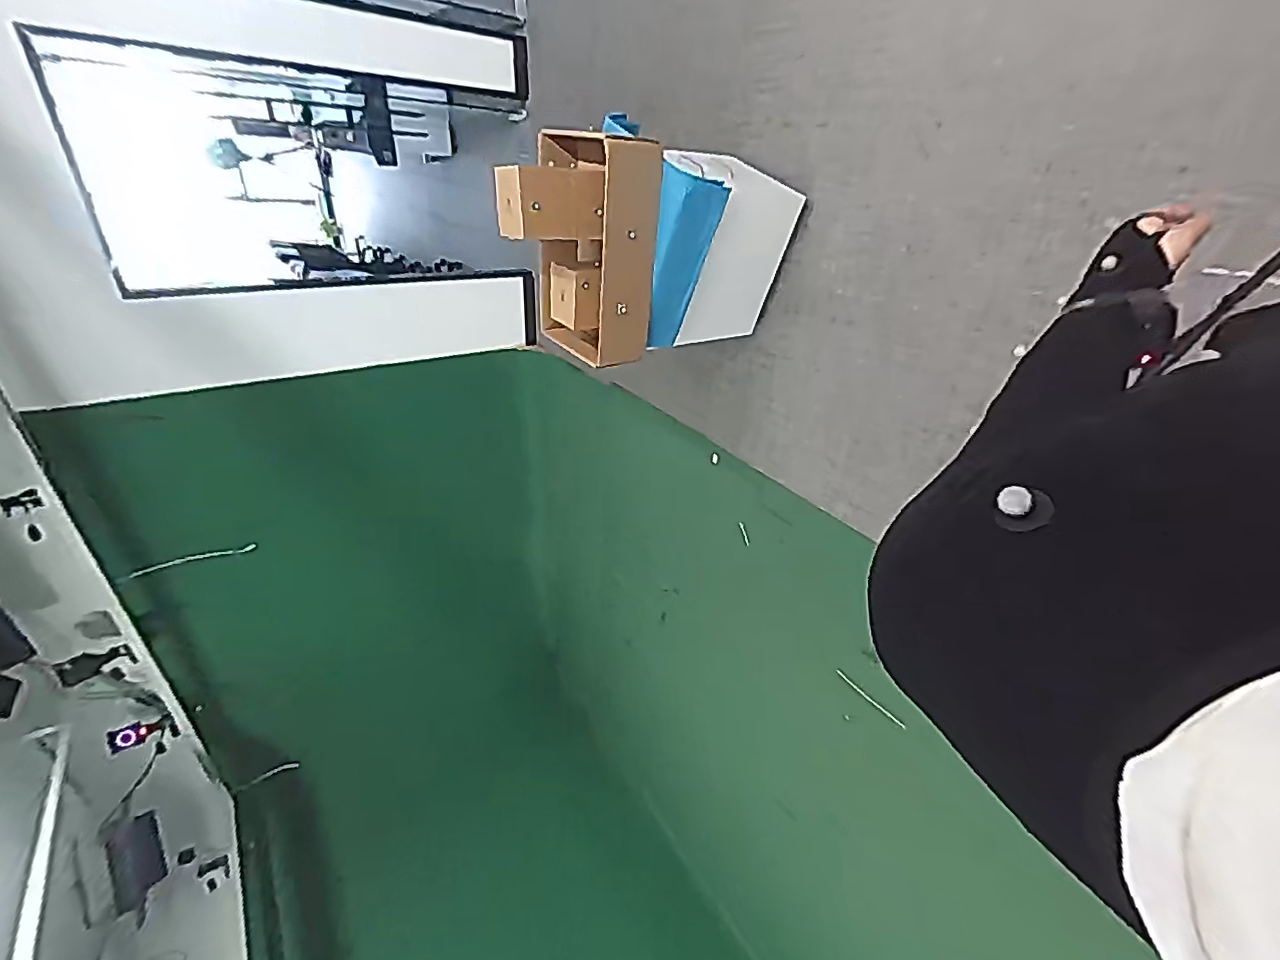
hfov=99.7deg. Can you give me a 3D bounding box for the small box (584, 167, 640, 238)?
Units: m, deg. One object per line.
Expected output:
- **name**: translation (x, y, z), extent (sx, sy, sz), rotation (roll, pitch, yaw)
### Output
- **small box**: translation (-0.112, -0.817, 1.586), extent (0.168, 0.176, 0.179), rotation (39, 136, 46)

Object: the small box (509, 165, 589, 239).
- **small box**: translation (-0.249, -0.776, 1.507), extent (0.168, 0.176, 0.179), rotation (37, 134, 47)
